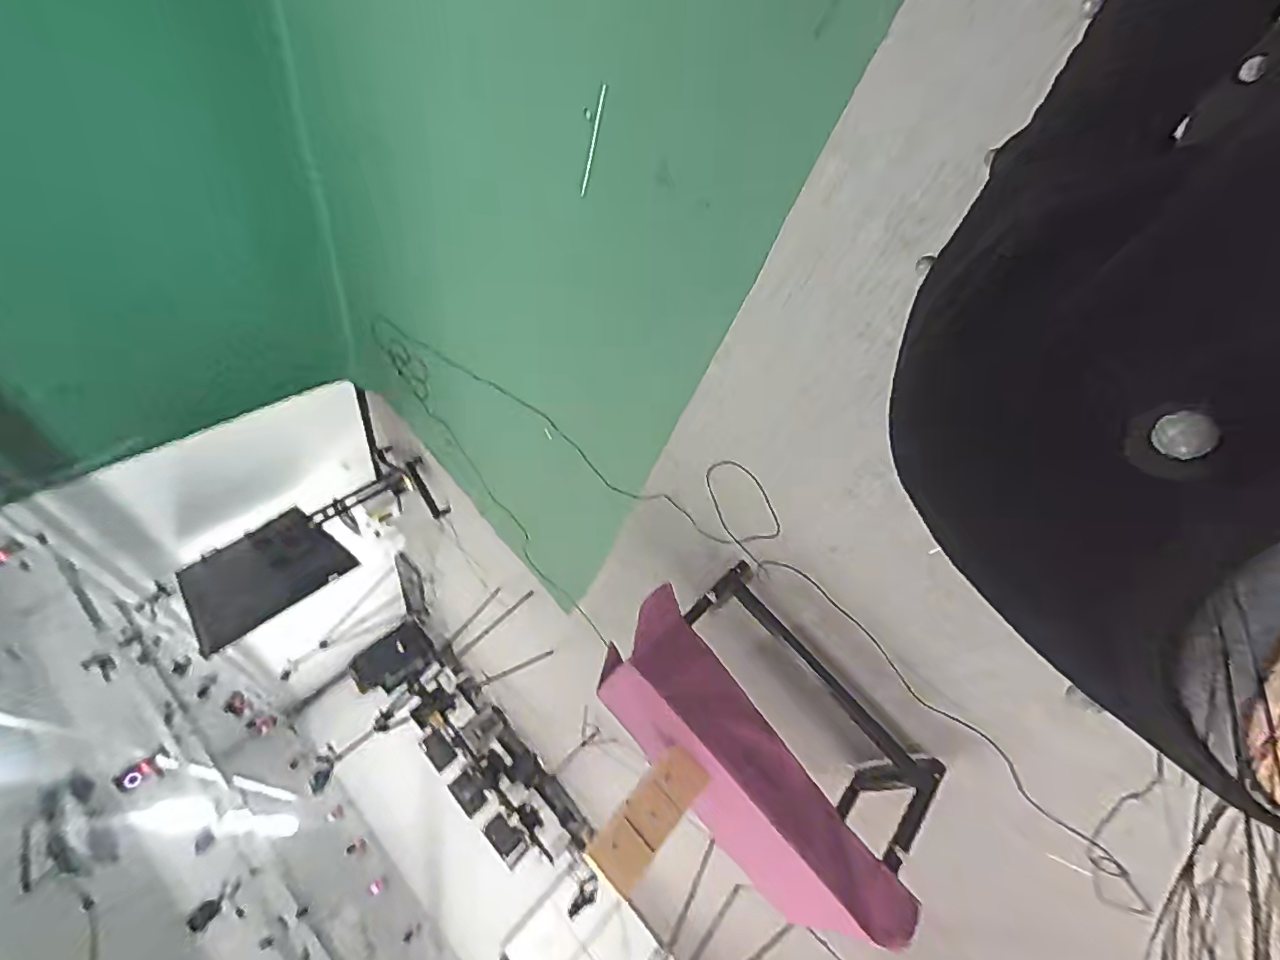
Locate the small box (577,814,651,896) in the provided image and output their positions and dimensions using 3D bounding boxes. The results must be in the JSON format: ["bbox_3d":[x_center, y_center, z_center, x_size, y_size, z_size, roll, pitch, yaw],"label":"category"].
[{"bbox_3d":[-0.091,1.324,1.924,0.179,0.176,0.168,47,146,11],"label":"small box"}]

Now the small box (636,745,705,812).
[{"bbox_3d":[0.119,1.163,2.118,0.179,0.176,0.168,47,146,11],"label":"small box"}]
